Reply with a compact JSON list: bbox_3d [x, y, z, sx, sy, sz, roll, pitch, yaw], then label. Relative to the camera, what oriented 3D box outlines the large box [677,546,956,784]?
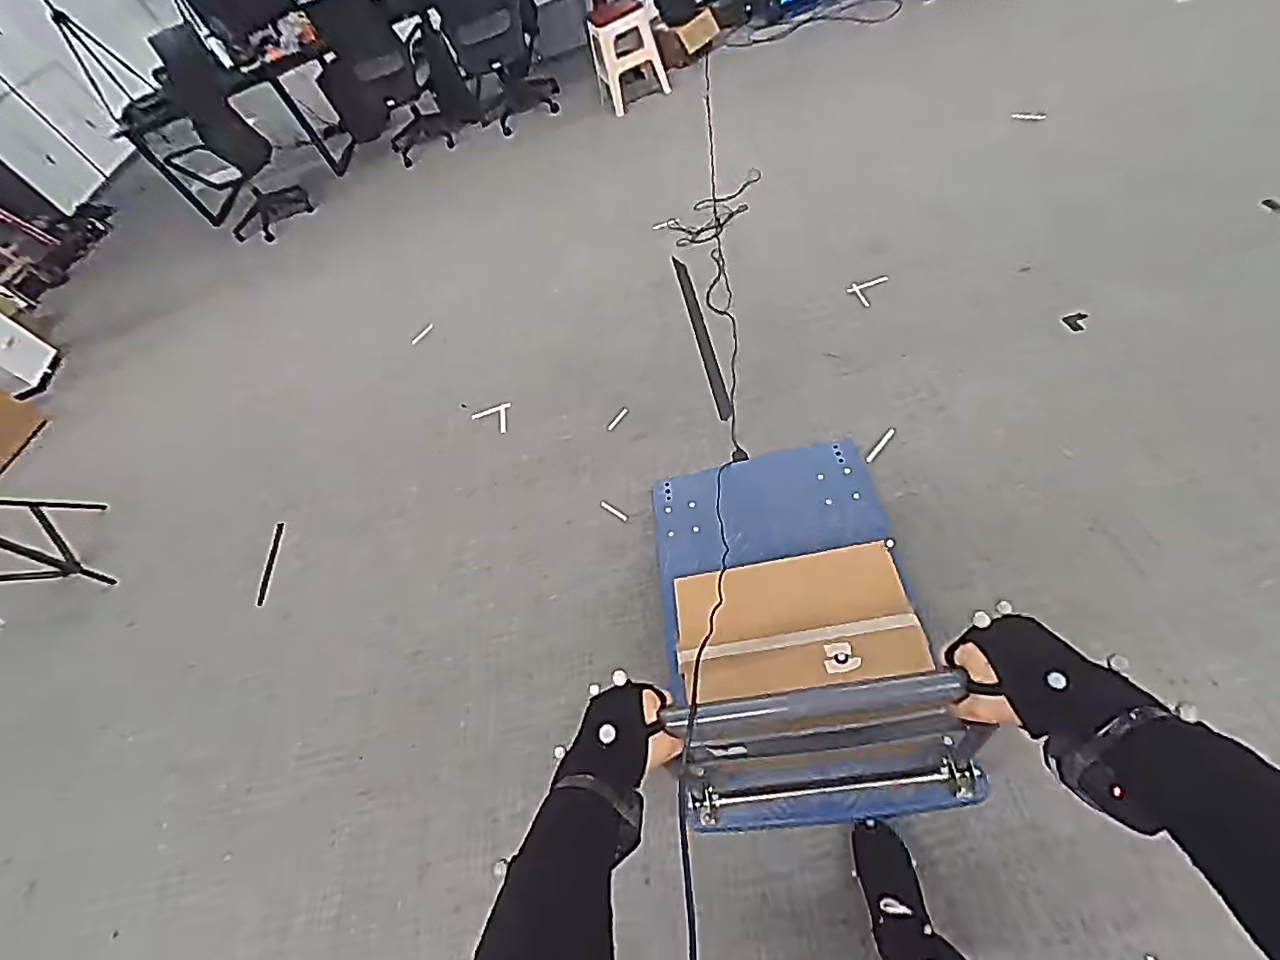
[{"bbox_3d":[0.309,0.369,1.040,0.408,0.320,0.320,-12,53,10],"label":"large box"}]
